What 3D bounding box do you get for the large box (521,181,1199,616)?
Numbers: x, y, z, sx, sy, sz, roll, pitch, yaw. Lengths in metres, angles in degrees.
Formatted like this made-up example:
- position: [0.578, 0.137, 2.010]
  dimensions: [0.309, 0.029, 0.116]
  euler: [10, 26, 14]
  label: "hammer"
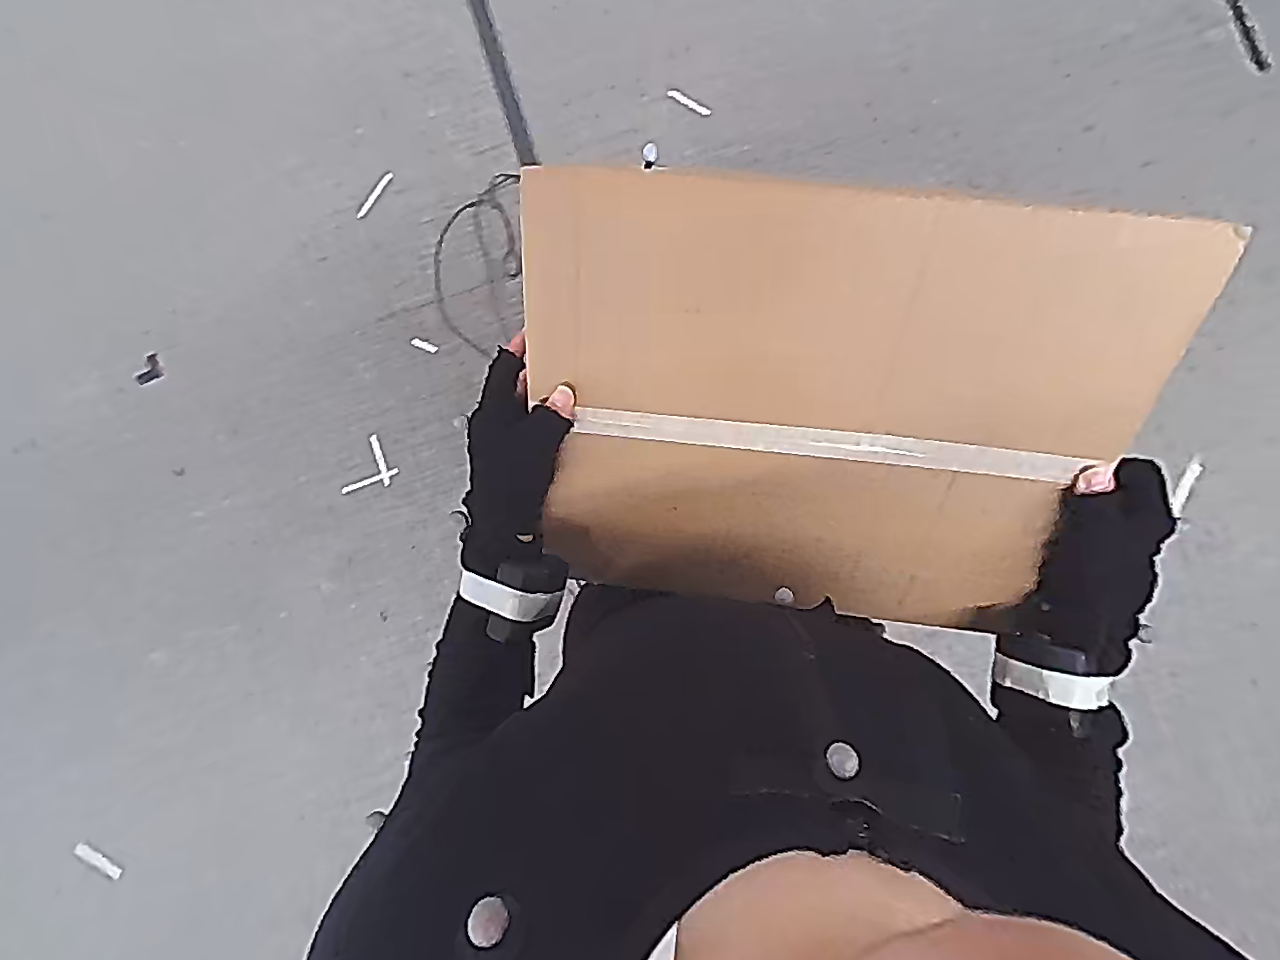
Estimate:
- position: [0.130, -0.106, 0.523]
  dimensions: [0.408, 0.320, 0.320]
  euler: [6, 122, 4]
  label: "large box"
